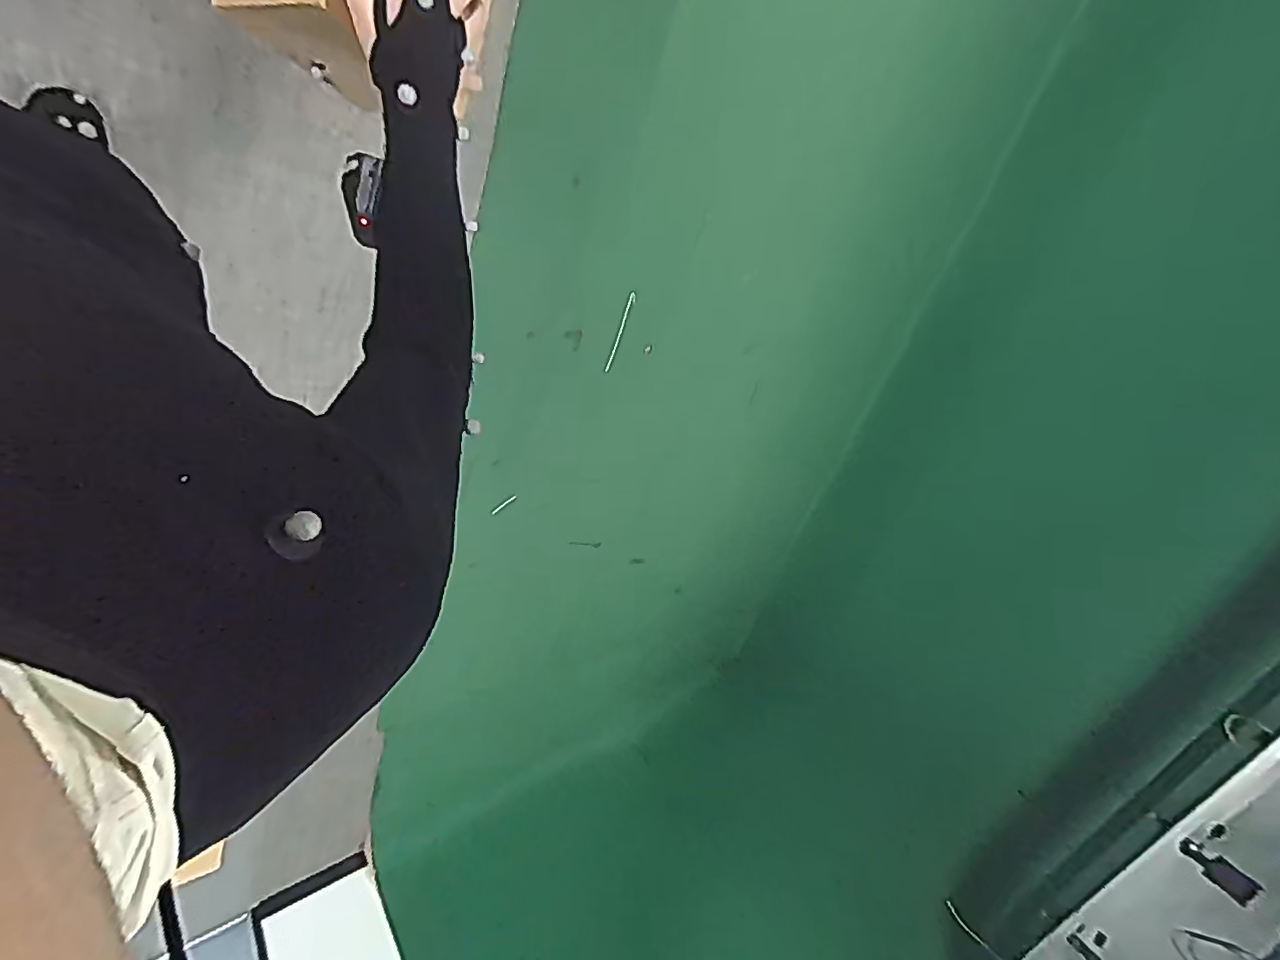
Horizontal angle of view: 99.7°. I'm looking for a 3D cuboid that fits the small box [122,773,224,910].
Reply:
[{"bbox_3d":[-1.092,0.832,1.262,0.168,0.176,0.179,1,121,-46],"label":"small box"}]
